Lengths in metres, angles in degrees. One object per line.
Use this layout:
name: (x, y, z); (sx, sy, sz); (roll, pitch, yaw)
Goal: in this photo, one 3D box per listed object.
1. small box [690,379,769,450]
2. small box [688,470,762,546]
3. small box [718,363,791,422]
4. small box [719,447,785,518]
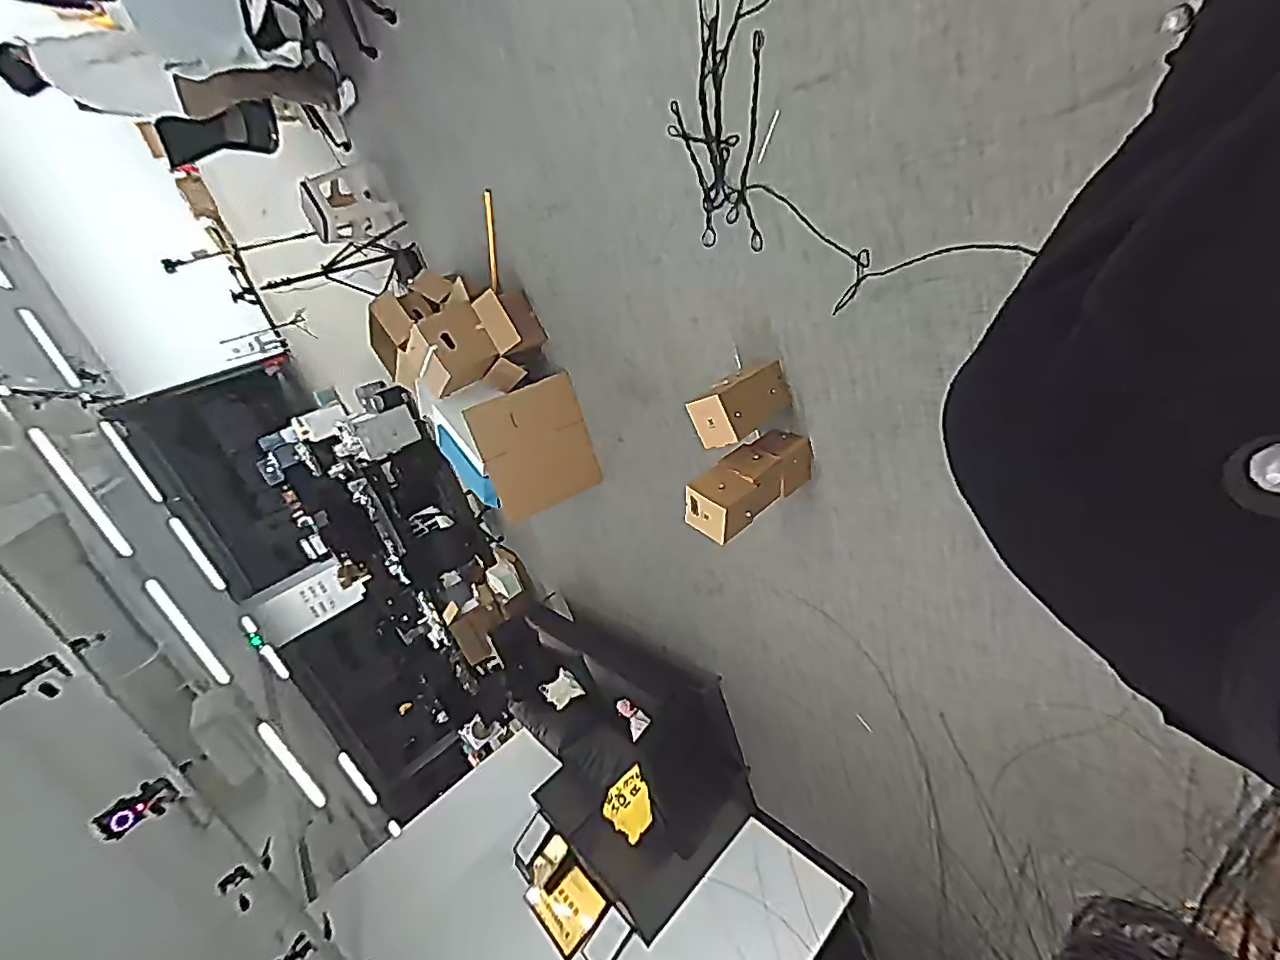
small box: (0.309, -0.221, 1.840); (0.168, 0.176, 0.179); (-8, 111, 56)
small box: (0.285, 0.087, 1.833); (0.179, 0.176, 0.168); (32, 140, 36)
small box: (0.417, -0.303, 1.931); (0.179, 0.176, 0.168); (0, 117, 55)
small box: (0.400, 0.010, 1.923); (0.168, 0.176, 0.179); (29, 138, 40)
